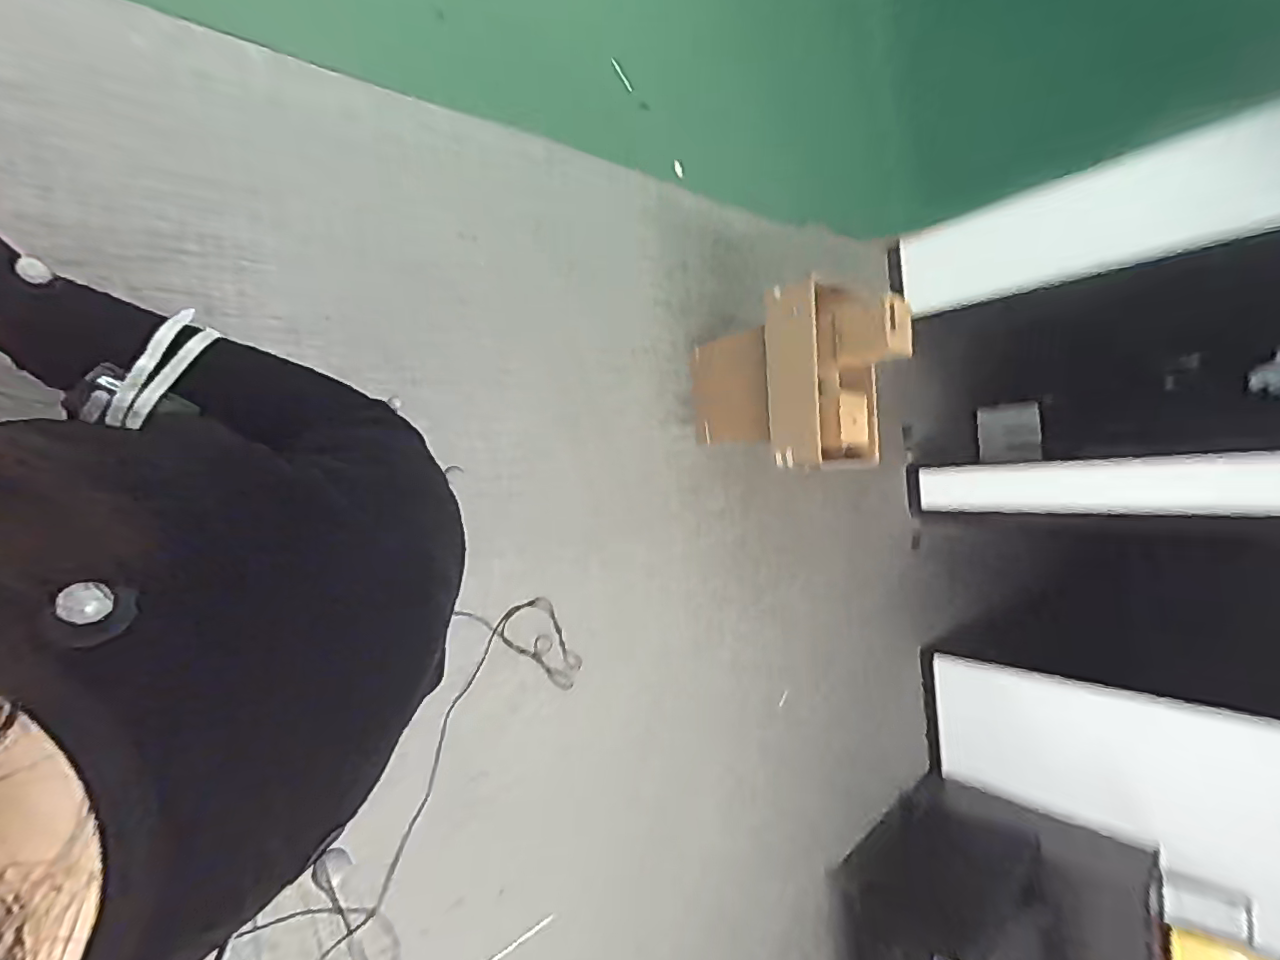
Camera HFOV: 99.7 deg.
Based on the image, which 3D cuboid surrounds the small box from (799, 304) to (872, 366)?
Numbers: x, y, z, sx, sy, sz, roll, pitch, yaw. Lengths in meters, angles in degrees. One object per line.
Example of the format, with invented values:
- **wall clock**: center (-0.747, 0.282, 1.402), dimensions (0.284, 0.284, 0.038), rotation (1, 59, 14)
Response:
- **small box**: center (0.664, -0.485, 1.836), dimensions (0.179, 0.176, 0.168), rotation (-5, 92, -38)
